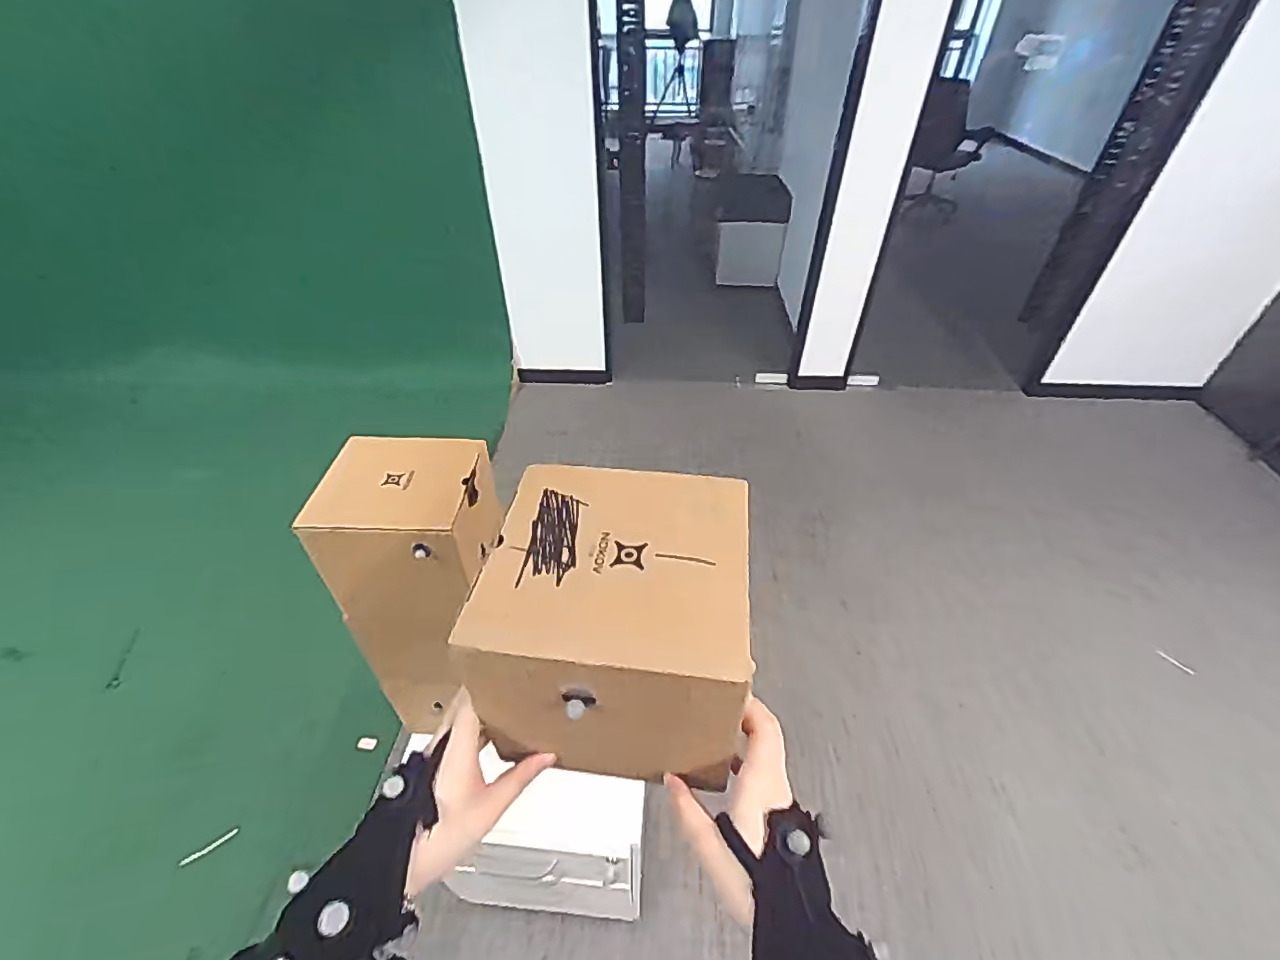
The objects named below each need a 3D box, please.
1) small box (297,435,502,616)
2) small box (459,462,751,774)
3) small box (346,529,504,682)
[{"bbox_3d":[-0.288,0.060,0.696,0.179,0.176,0.168,2,42,-2],"label":"small box"},{"bbox_3d":[-0.010,0.106,0.421,0.179,0.176,0.168,5,43,6],"label":"small box"},{"bbox_3d":[-0.292,0.183,0.802,0.179,0.176,0.168,1,41,-1],"label":"small box"}]
